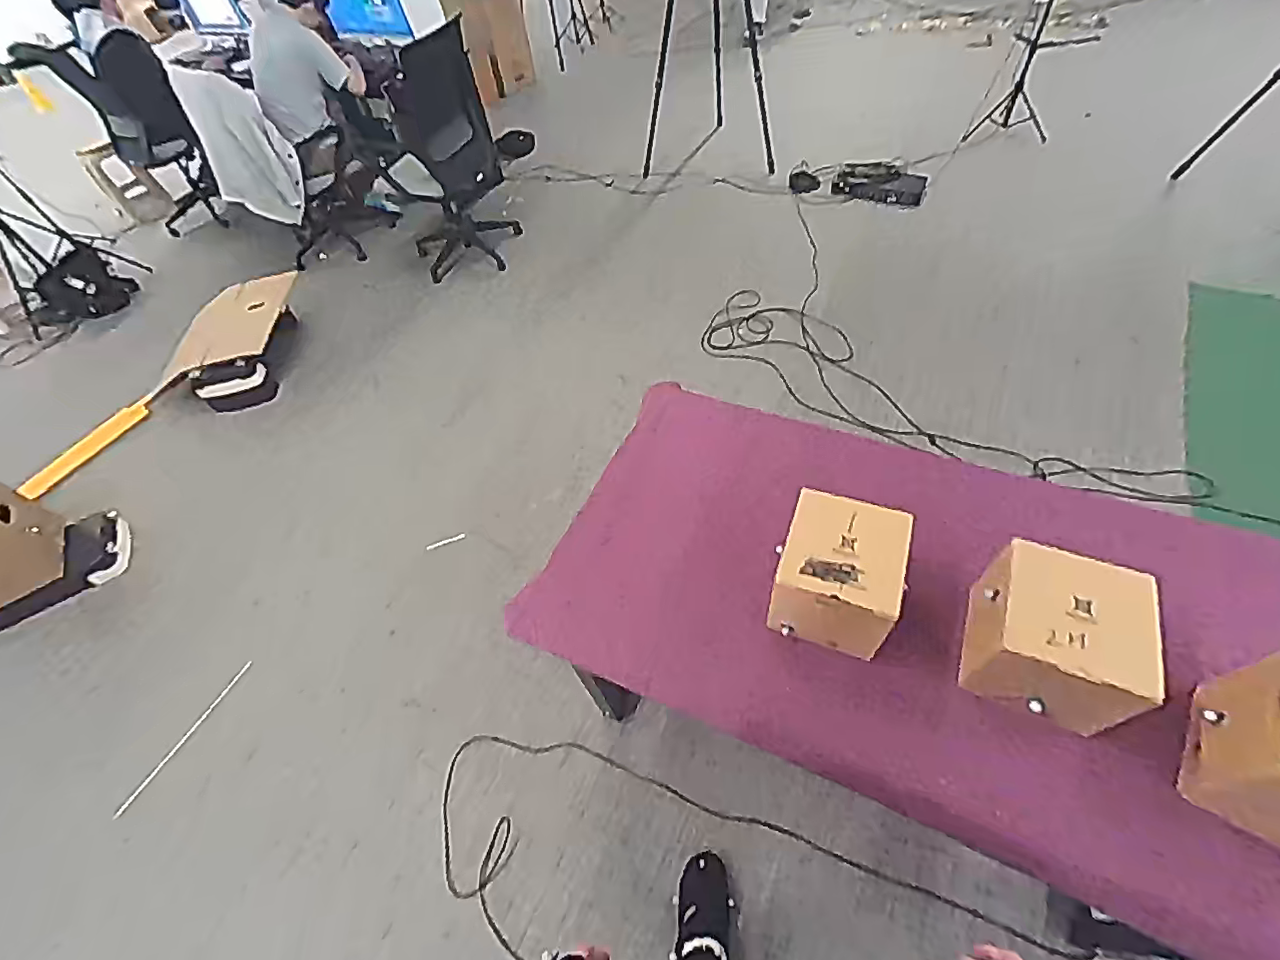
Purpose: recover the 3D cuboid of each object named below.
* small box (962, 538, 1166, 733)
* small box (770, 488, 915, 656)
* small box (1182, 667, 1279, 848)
[{"bbox_3d":[0.568,0.215,0.743,0.168,0.176,0.179,18,58,21],"label":"small box"},{"bbox_3d":[0.304,0.145,0.835,0.168,0.176,0.179,16,56,19],"label":"small box"},{"bbox_3d":[0.796,0.335,0.620,0.179,0.176,0.168,27,62,26],"label":"small box"}]
